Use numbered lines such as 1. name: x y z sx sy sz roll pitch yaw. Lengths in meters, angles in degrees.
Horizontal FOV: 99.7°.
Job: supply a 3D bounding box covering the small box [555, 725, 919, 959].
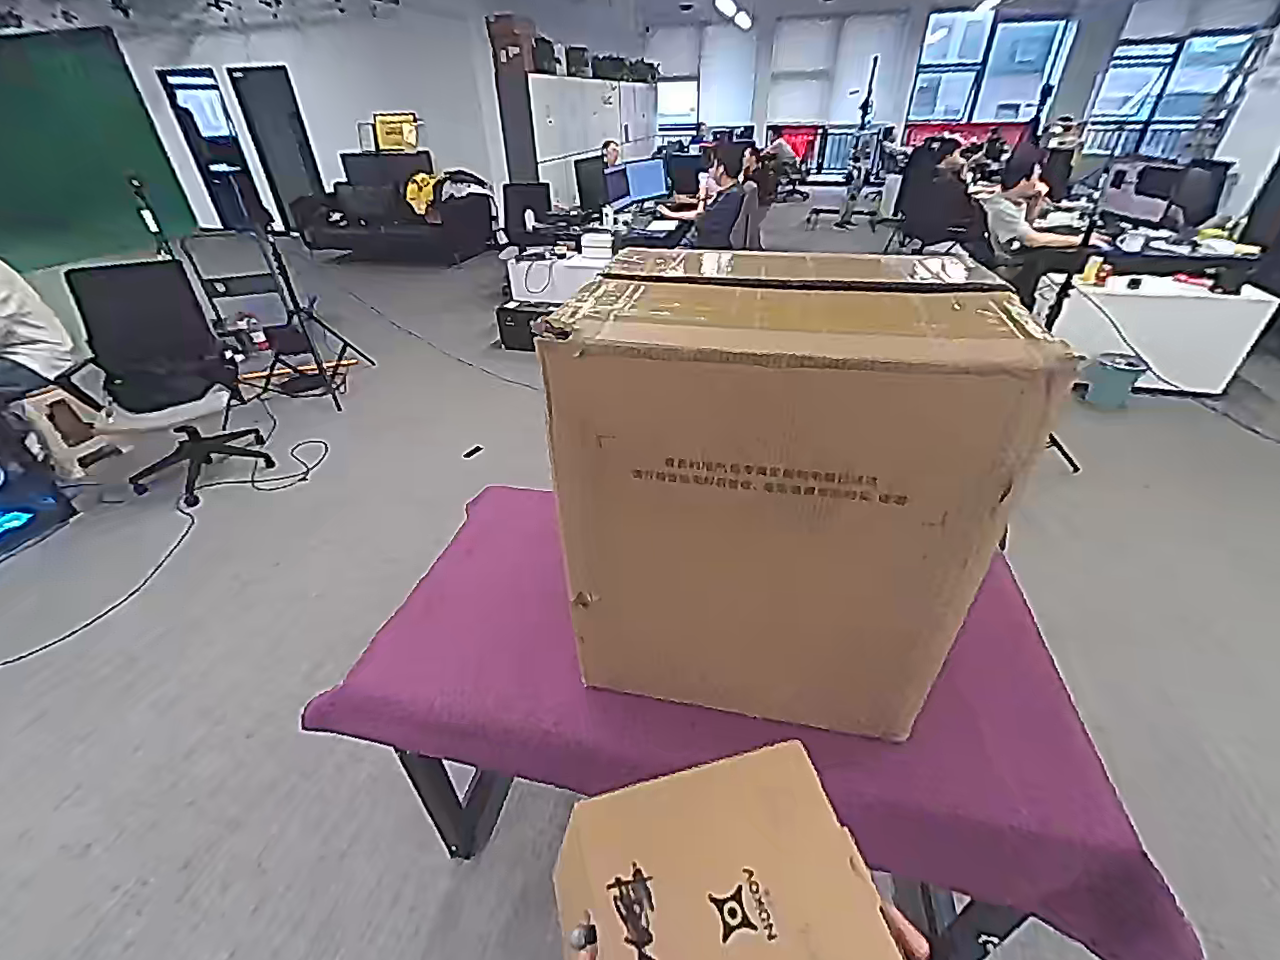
1. small box: 0.048 0.301 0.375 0.179 0.176 0.168 -3 44 -21
